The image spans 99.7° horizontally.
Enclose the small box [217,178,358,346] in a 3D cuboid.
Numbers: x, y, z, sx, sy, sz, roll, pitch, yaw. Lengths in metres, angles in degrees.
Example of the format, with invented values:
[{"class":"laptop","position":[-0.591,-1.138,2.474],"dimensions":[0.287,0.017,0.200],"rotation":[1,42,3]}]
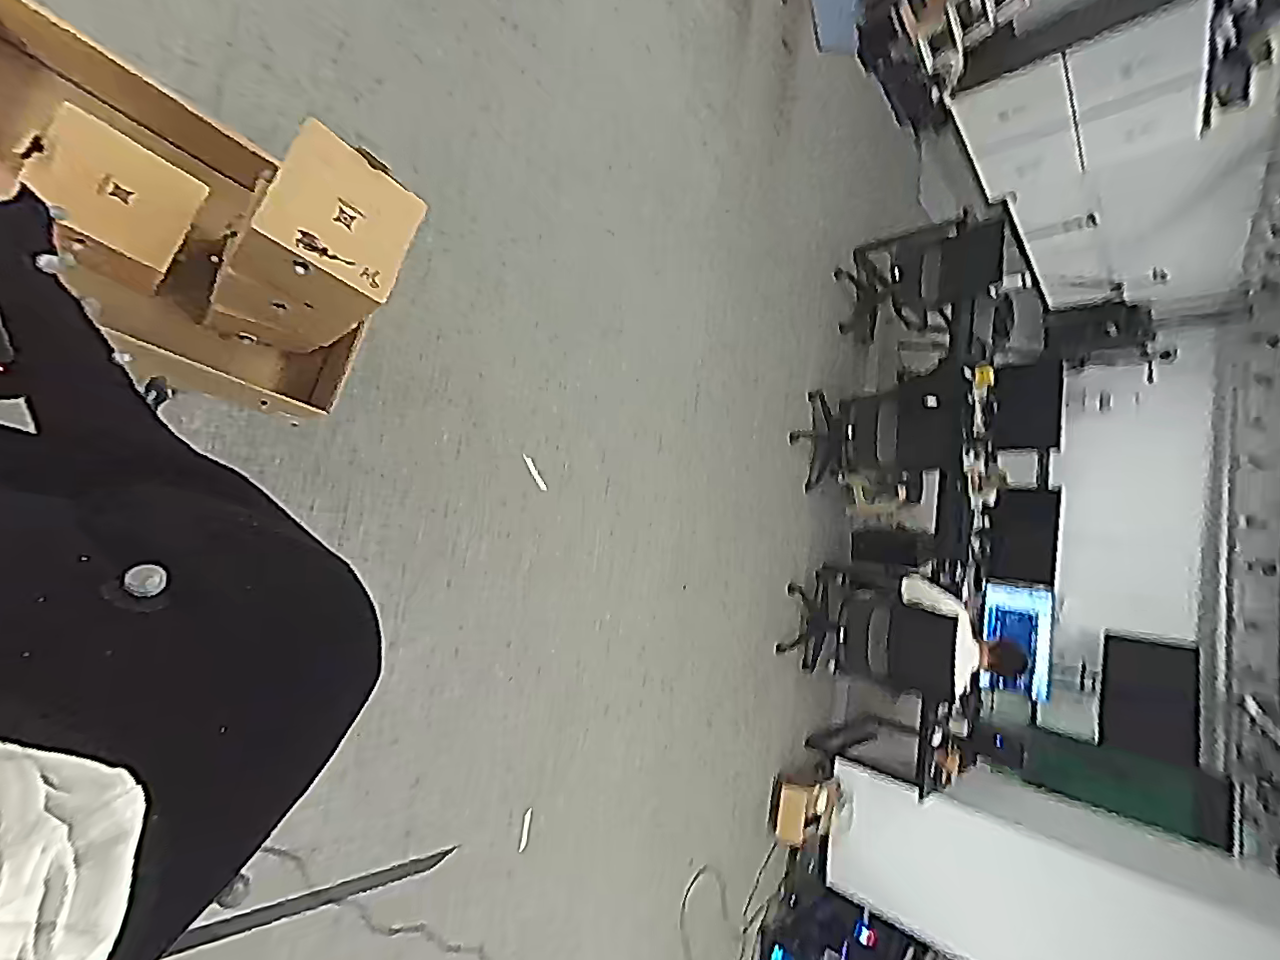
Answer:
[{"class":"small box","position":[-0.549,-0.334,0.874],"dimensions":[0.179,0.176,0.168],"rotation":[22,75,-43]}]

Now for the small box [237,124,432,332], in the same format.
[{"class":"small box","position":[-0.430,-0.336,0.759],"dimensions":[0.168,0.176,0.179],"rotation":[29,69,-40]}]

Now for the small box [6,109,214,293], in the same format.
[{"class":"small box","position":[-0.813,-0.412,0.839],"dimensions":[0.179,0.176,0.168],"rotation":[28,70,-43]}]
